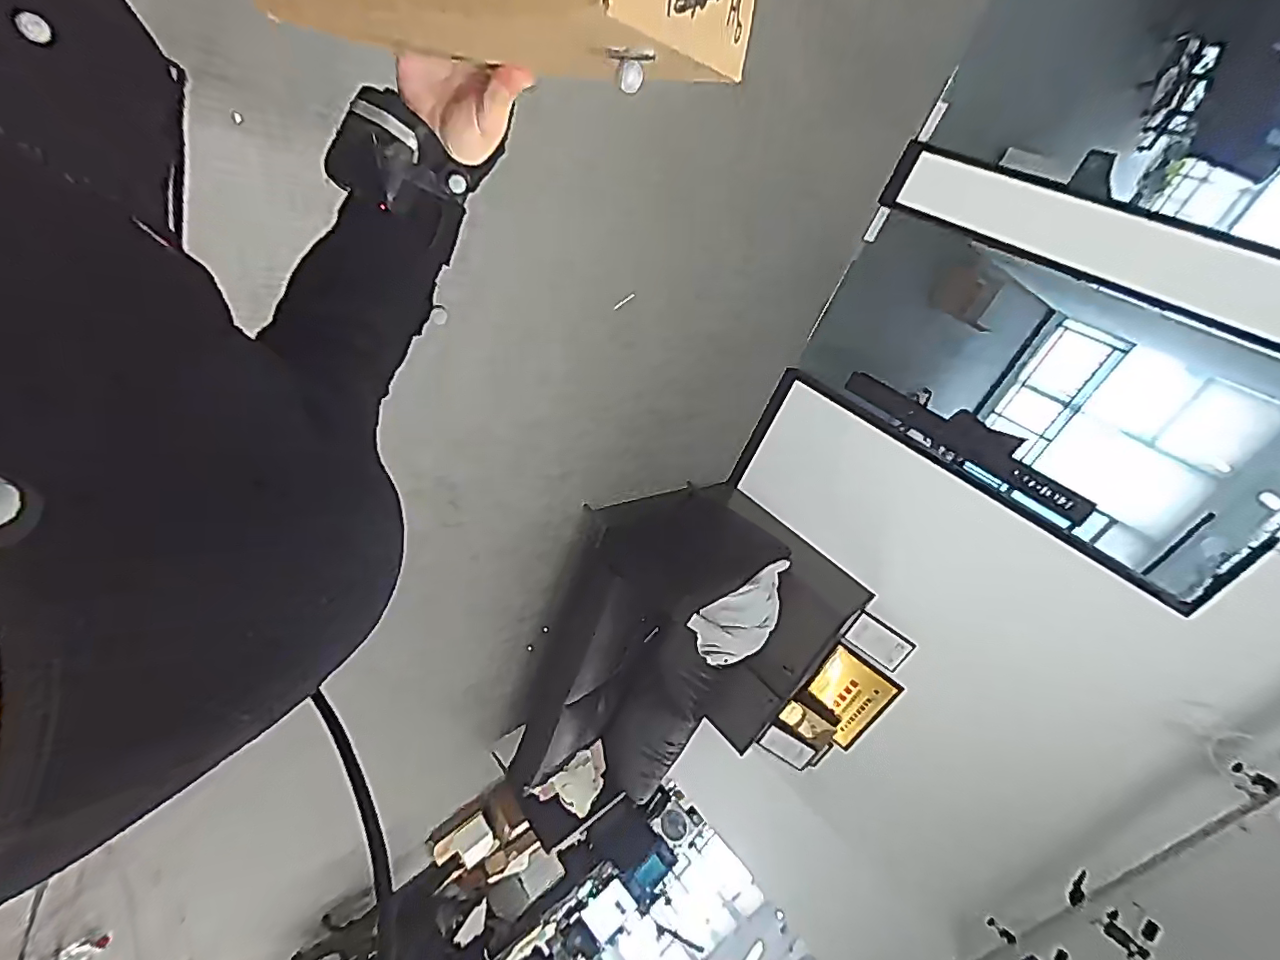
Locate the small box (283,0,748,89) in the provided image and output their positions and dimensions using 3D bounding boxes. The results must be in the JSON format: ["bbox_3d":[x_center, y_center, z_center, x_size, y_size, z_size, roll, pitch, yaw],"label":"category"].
[{"bbox_3d":[-0.049,-0.282,0.228,0.168,0.176,0.179,-48,148,-52],"label":"small box"}]
